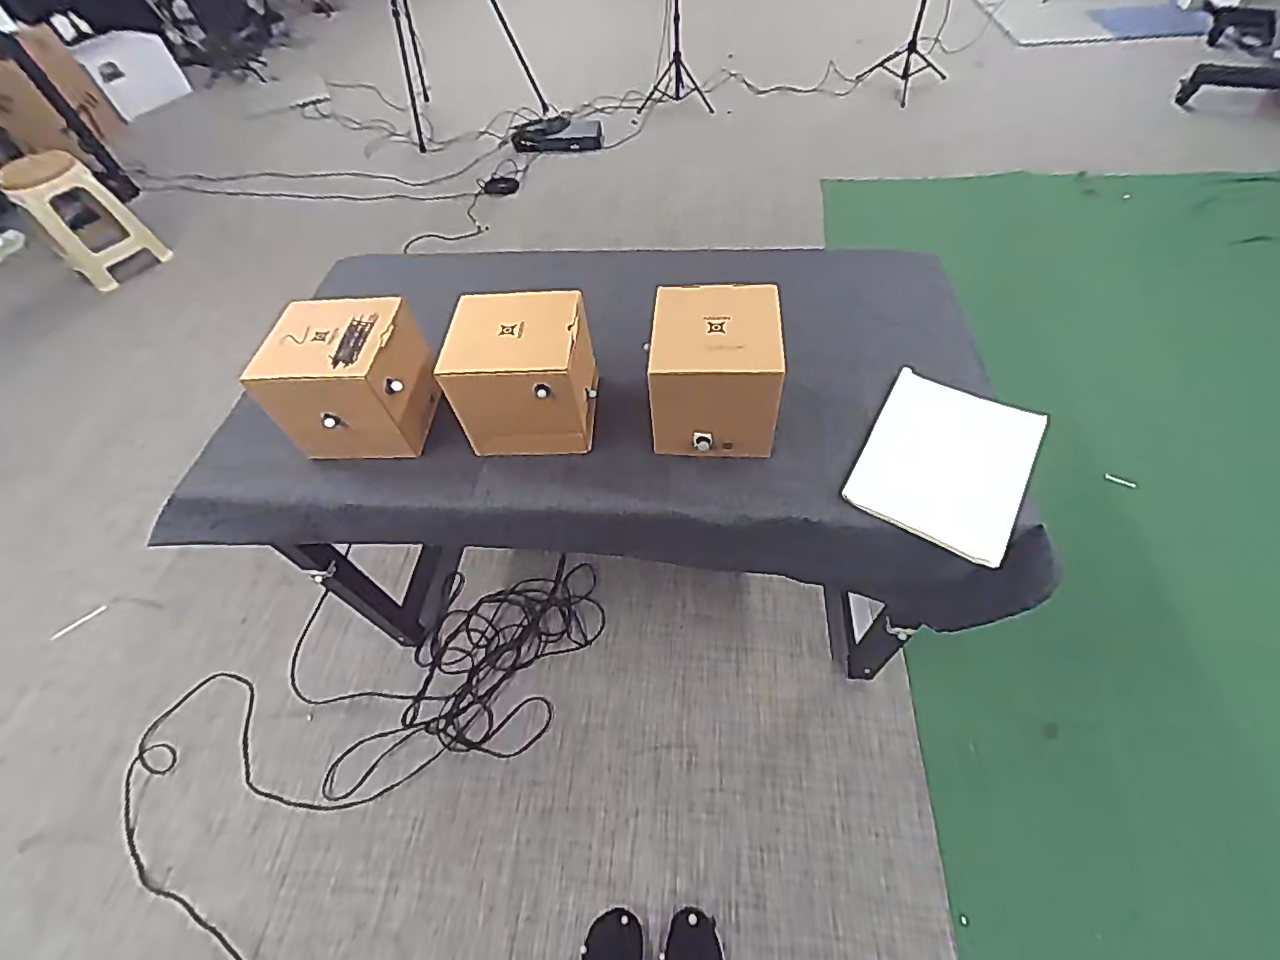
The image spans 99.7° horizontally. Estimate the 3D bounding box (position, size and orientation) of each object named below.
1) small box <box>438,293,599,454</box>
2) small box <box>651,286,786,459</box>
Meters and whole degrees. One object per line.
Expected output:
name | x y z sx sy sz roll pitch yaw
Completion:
small box | -0.163 -0.150 0.789 0.179 0.176 0.168 -1 54 4
small box | 0.107 -0.150 0.763 0.168 0.176 0.179 0 55 7
